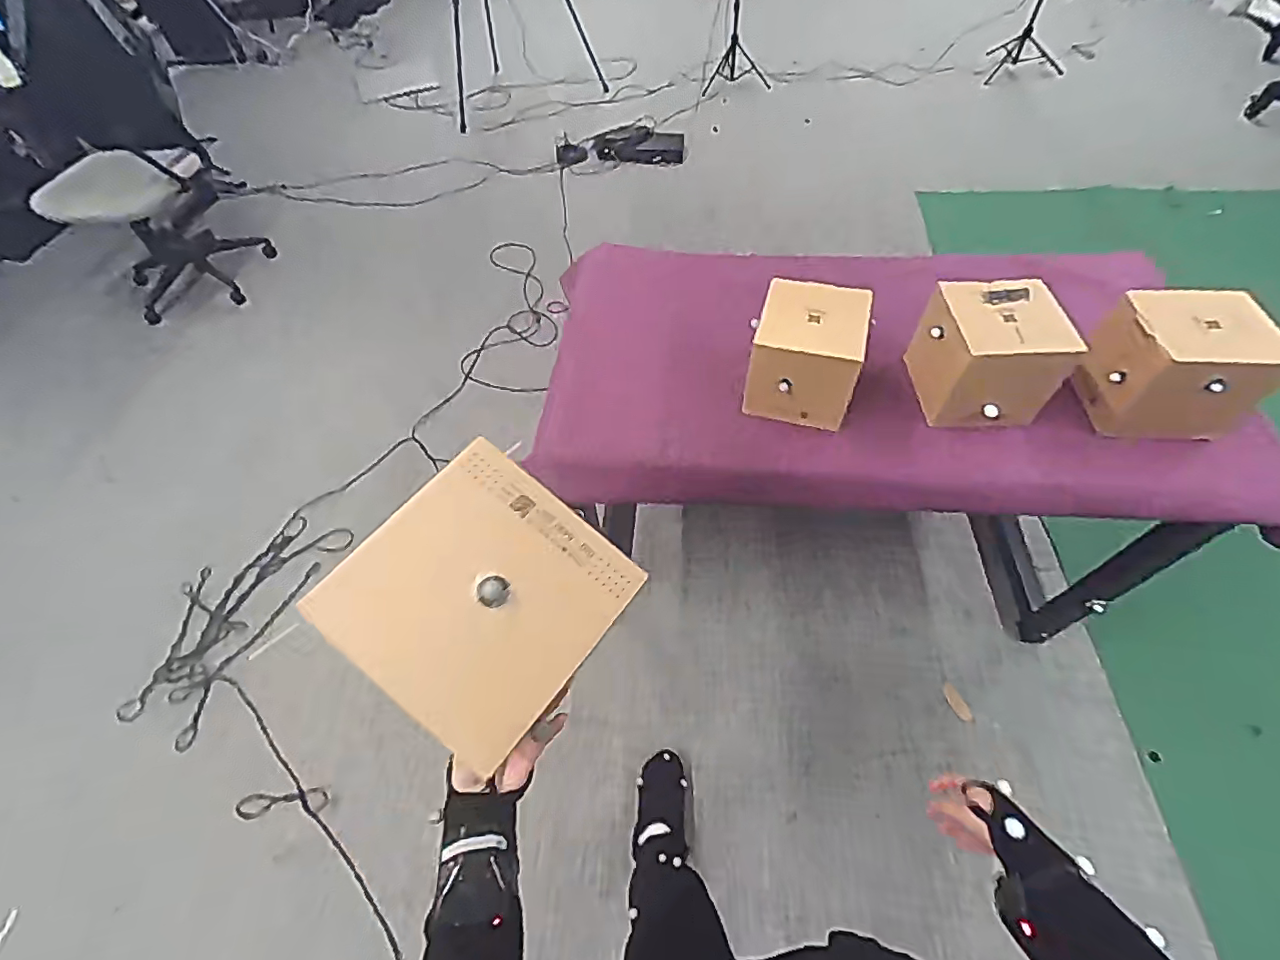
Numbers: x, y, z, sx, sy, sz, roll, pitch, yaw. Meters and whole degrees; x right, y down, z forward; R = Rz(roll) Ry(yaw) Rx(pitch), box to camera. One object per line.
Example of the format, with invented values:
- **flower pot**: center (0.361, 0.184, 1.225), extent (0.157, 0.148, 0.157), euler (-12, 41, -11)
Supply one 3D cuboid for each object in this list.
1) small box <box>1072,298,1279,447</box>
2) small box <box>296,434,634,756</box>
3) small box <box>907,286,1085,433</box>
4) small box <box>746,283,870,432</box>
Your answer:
- **small box**: center (0.837, -0.168, 0.860), extent (0.179, 0.176, 0.168), euler (4, 54, 6)
- **small box**: center (-0.125, 0.092, 0.444), extent (0.168, 0.179, 0.176), euler (41, 66, 5)
- **small box**: center (0.570, -0.199, 0.900), extent (0.168, 0.176, 0.179), euler (-1, 55, 3)
- **small box**: center (0.281, -0.206, 0.925), extent (0.168, 0.176, 0.179), euler (13, 55, 13)
